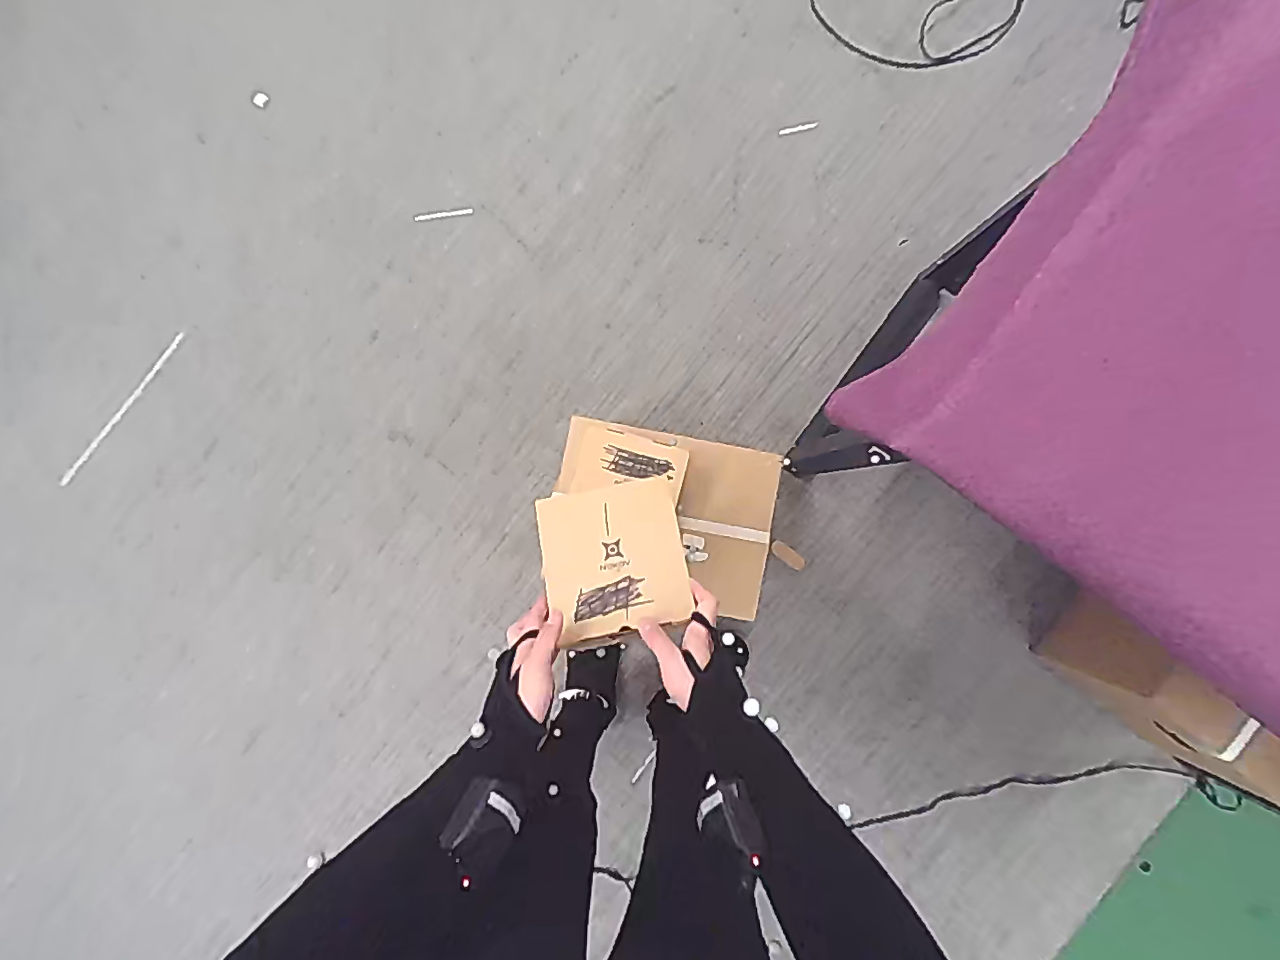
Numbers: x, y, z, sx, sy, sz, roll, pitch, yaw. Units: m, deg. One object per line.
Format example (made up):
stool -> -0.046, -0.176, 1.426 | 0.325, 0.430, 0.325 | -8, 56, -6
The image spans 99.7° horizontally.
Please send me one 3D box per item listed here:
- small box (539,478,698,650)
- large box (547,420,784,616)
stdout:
small box -> -0.021, 0.118, 0.698 | 0.168, 0.176, 0.179 | -12, 69, 0
large box -> 0.046, 0.076, 1.145 | 0.408, 0.320, 0.320 | 10, 89, 0
